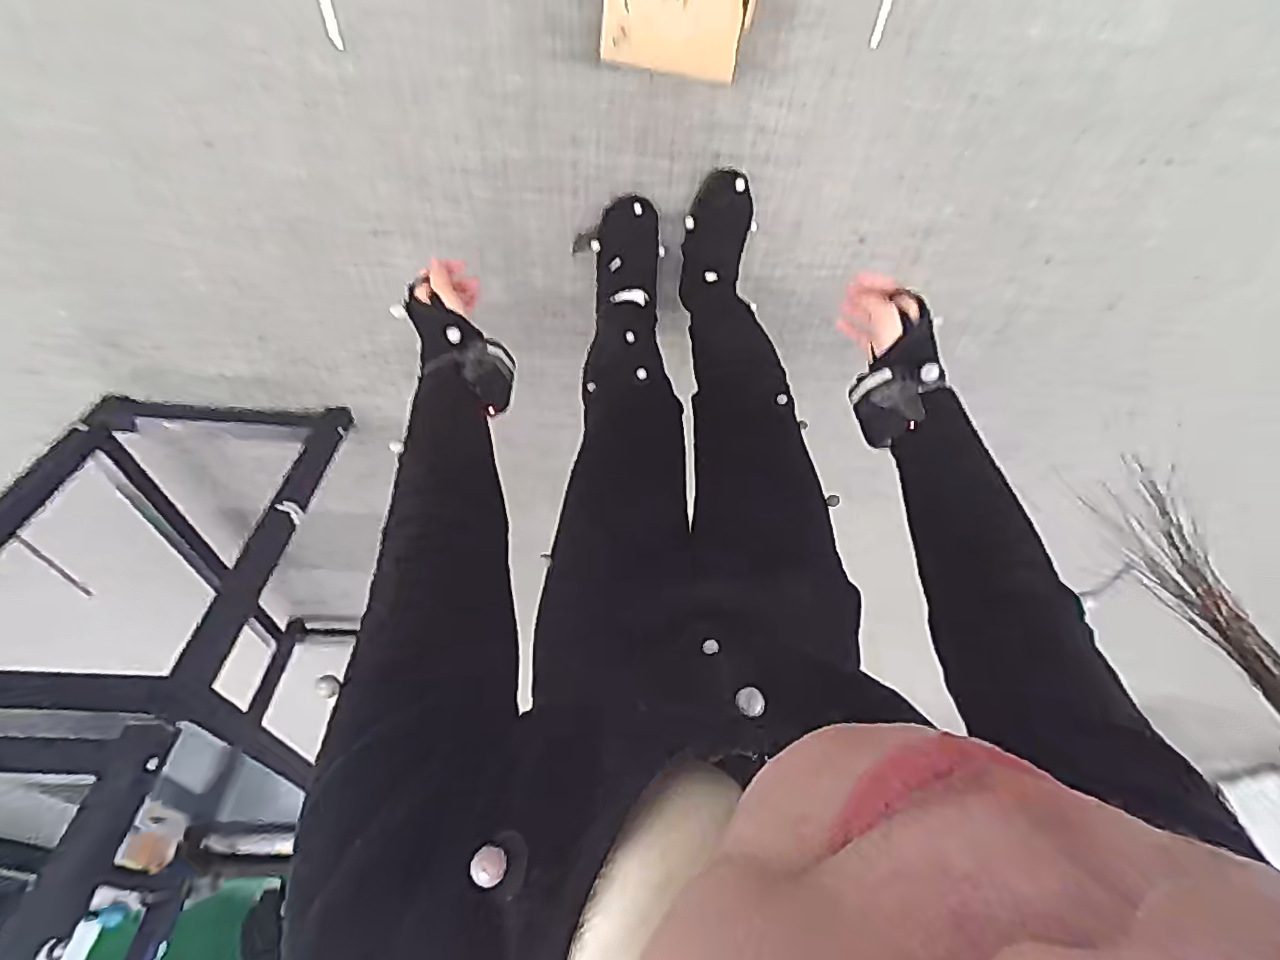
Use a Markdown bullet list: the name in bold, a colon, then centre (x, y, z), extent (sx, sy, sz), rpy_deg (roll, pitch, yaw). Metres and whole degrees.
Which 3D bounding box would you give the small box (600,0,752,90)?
- **small box**: centre (0.045, -0.635, 0.694), extent (0.179, 0.176, 0.168), rpy_deg (5, 137, -8)
